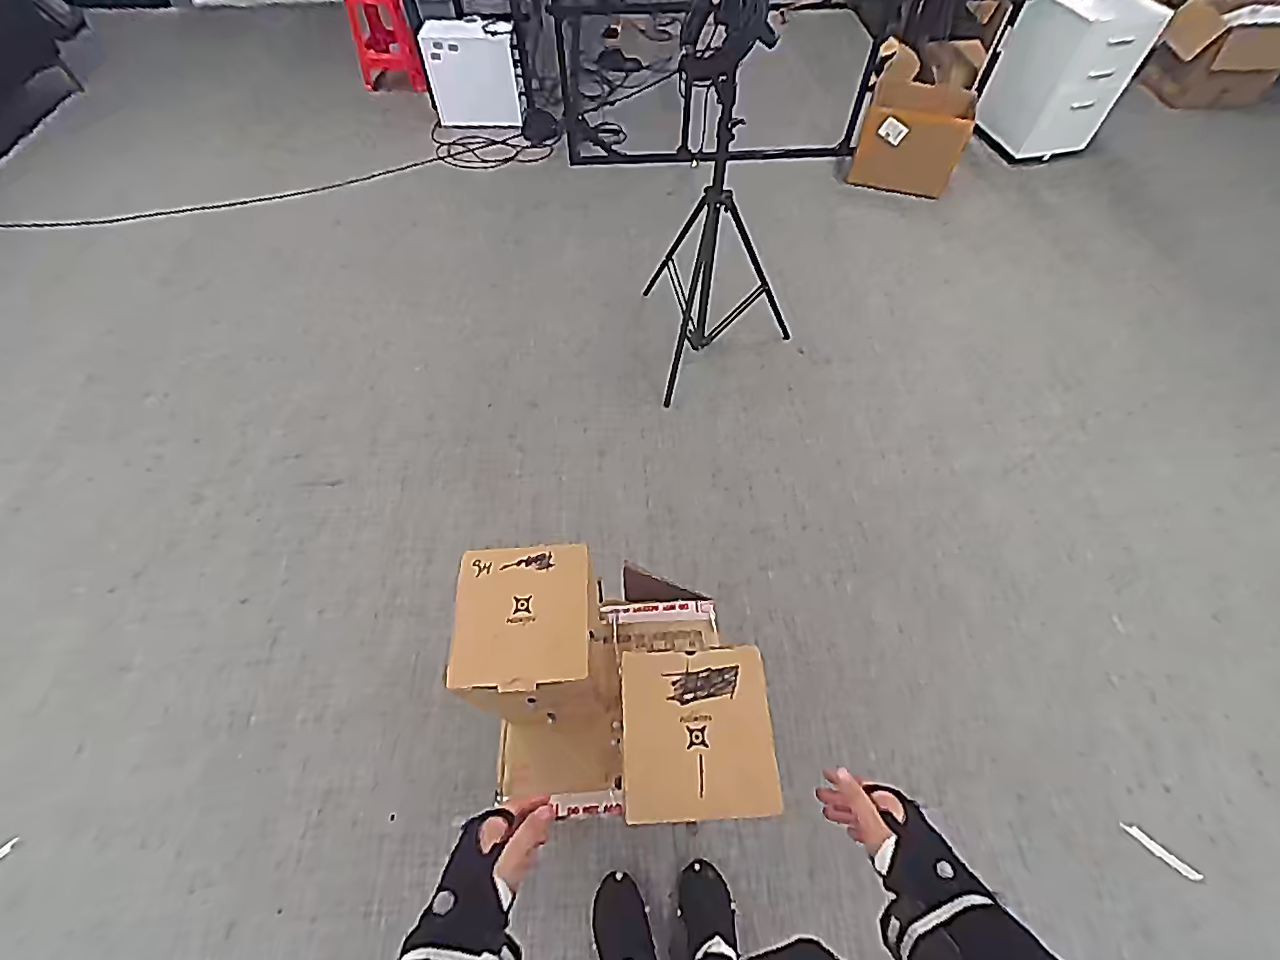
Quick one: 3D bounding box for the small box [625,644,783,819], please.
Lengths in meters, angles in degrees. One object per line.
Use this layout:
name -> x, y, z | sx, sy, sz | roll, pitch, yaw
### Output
small box -> 0.065, 0.314, 0.671 | 0.168, 0.176, 0.179 | -3, 60, -1

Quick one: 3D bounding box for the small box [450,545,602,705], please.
small box -> -0.142, 0.205, 0.736 | 0.168, 0.176, 0.179 | -4, 60, 0

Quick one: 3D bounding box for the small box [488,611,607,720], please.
small box -> -0.145, 0.282, 0.882 | 0.168, 0.176, 0.179 | -5, 60, -1
